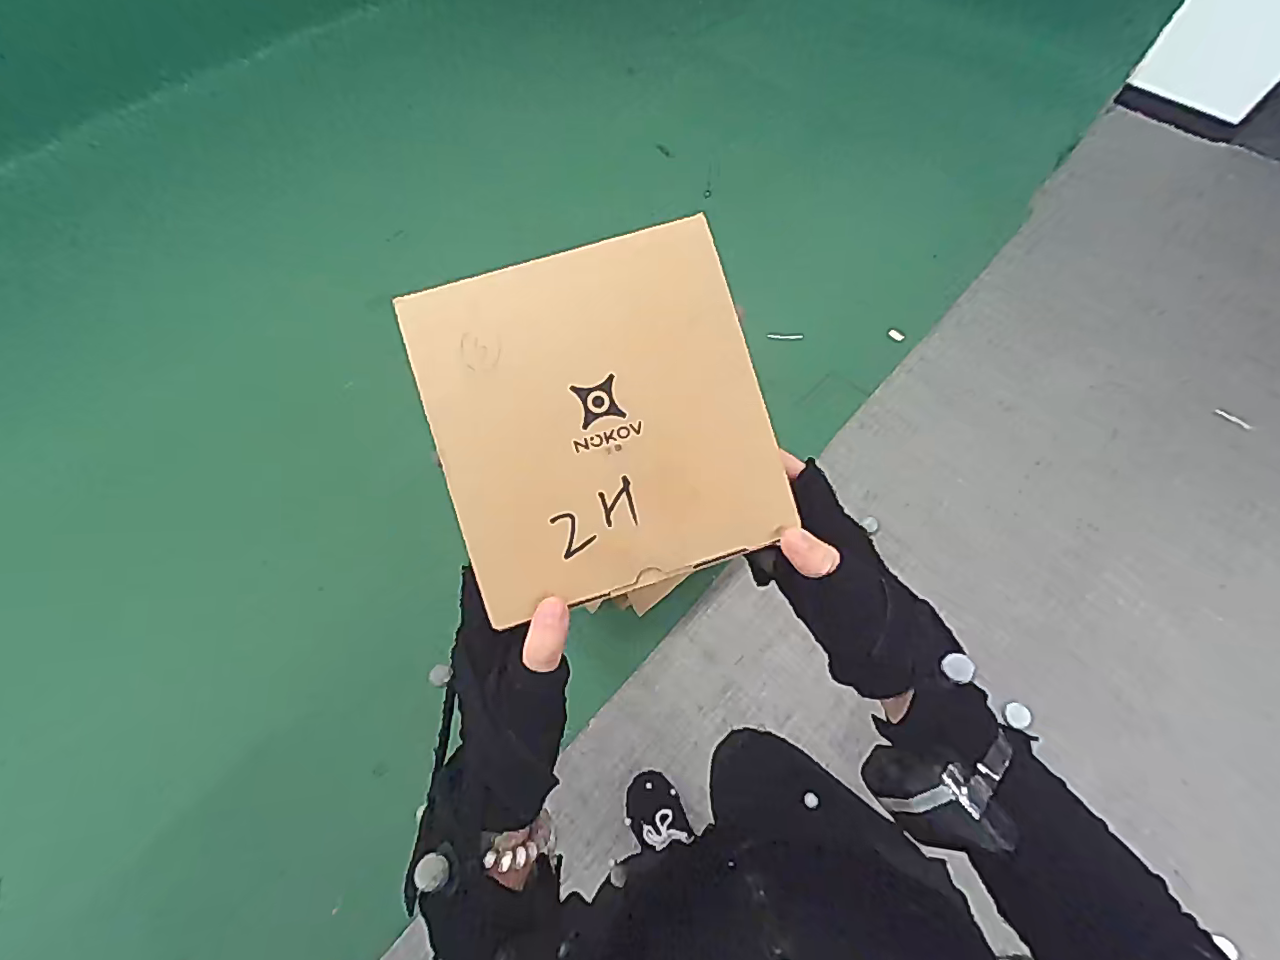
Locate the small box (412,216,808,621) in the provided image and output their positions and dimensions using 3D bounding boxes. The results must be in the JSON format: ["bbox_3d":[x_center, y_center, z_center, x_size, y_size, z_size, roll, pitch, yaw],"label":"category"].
[{"bbox_3d":[-0.019,-0.030,0.352,0.168,0.176,0.179,-16,89,-3],"label":"small box"}]
